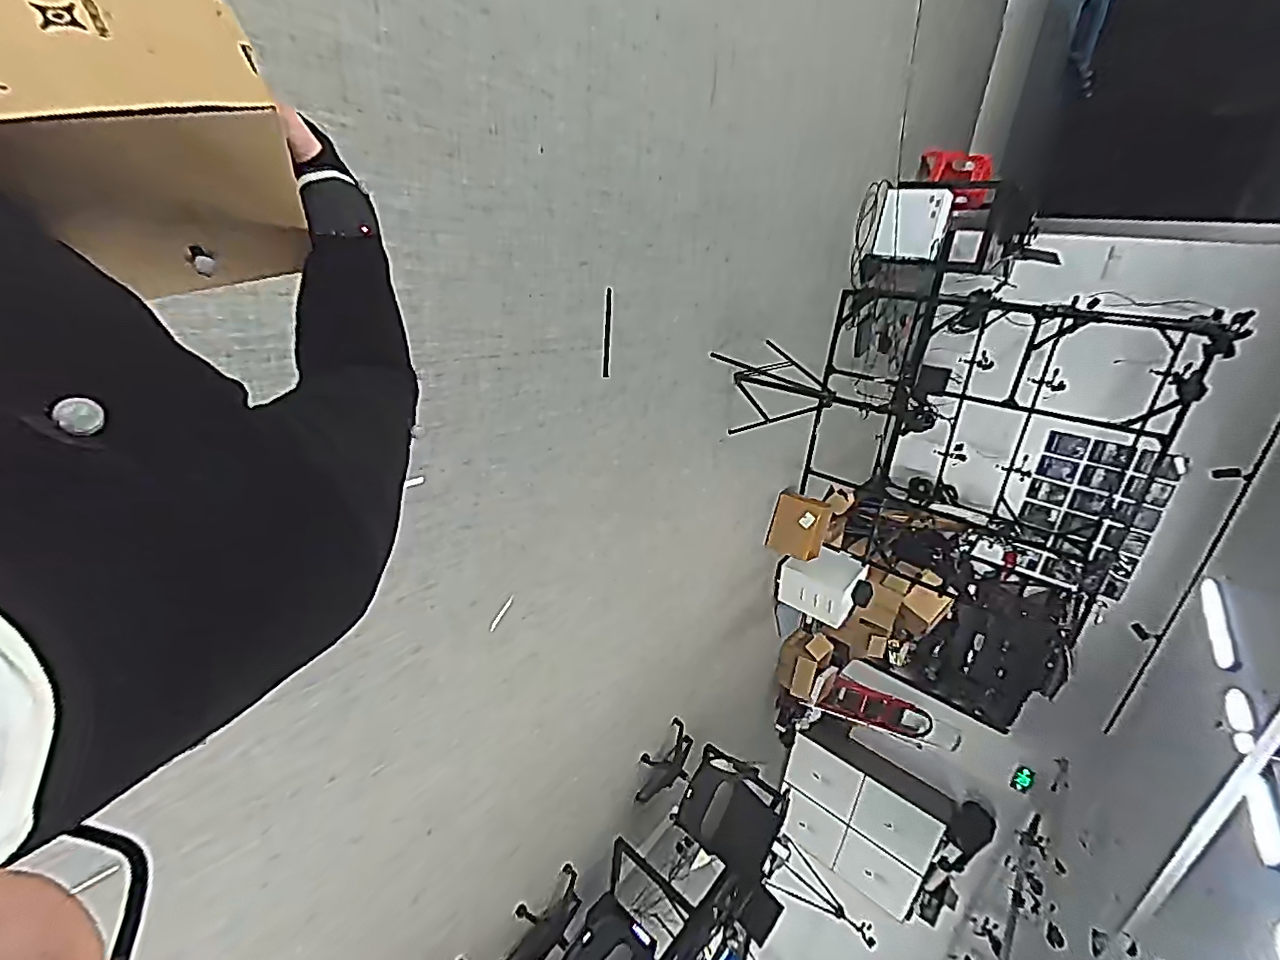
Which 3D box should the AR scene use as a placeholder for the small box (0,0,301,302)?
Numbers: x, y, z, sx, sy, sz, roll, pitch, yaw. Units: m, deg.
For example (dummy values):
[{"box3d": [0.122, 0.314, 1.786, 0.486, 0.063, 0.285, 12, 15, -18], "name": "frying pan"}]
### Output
[{"box3d": [-0.403, -0.274, 0.439, 0.179, 0.168, 0.176, -26, 170, -29], "name": "small box"}]
